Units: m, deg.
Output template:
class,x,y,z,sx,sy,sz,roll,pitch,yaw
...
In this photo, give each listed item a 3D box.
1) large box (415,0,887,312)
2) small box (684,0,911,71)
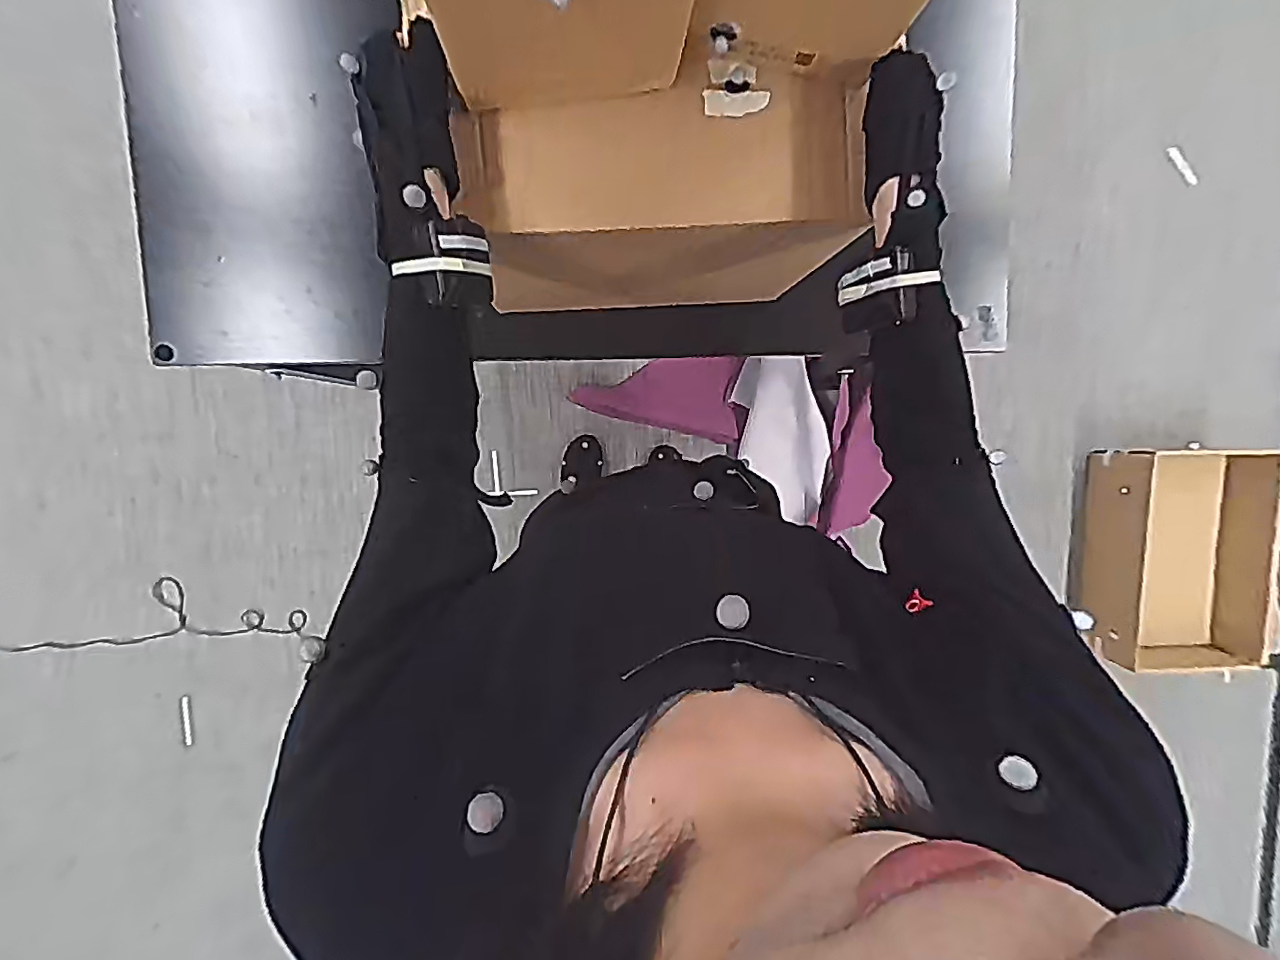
class,x,y,z,sx,sy,sz,roll,pitch,yaw
large box,0.000,-0.392,0.608,0.408,0.320,0.320,-5,96,-5
small box,0.129,-0.431,0.370,0.168,0.176,0.179,7,93,-5
